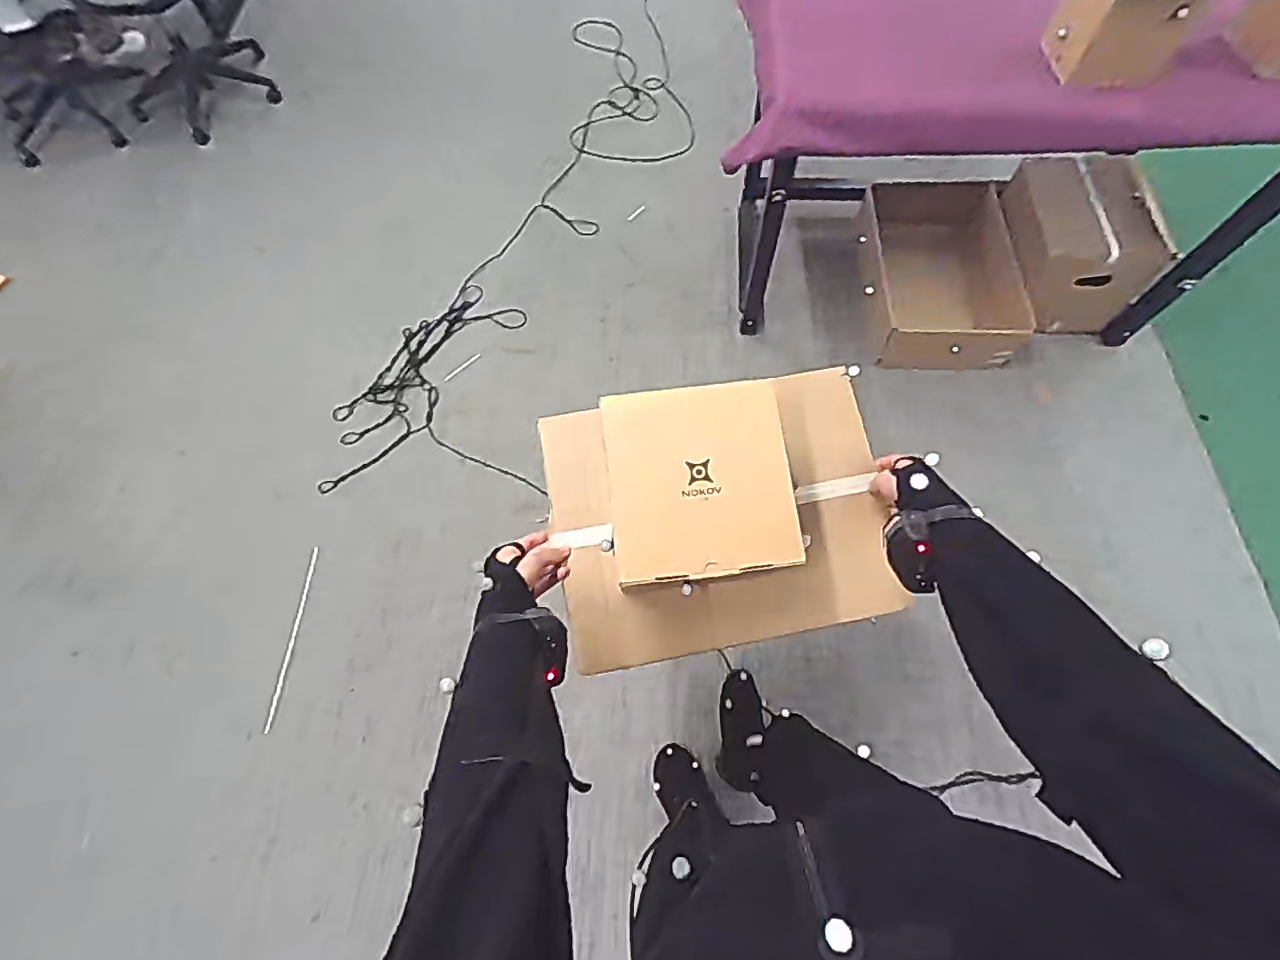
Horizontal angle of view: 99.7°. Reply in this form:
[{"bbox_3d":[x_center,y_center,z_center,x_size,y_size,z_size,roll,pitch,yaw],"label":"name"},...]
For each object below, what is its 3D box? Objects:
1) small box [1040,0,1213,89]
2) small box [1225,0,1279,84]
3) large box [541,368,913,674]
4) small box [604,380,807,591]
[{"bbox_3d":[0.934,-0.895,1.049,0.179,0.176,0.168,1,64,4],"label":"small box"},{"bbox_3d":[1.300,-0.896,1.031,0.168,0.176,0.179,-1,64,4],"label":"small box"},{"bbox_3d":[0.094,0.071,0.795,0.408,0.320,0.320,-10,78,-4],"label":"large box"},{"bbox_3d":[0.053,0.016,0.557,0.168,0.176,0.179,-6,78,-2],"label":"small box"}]
